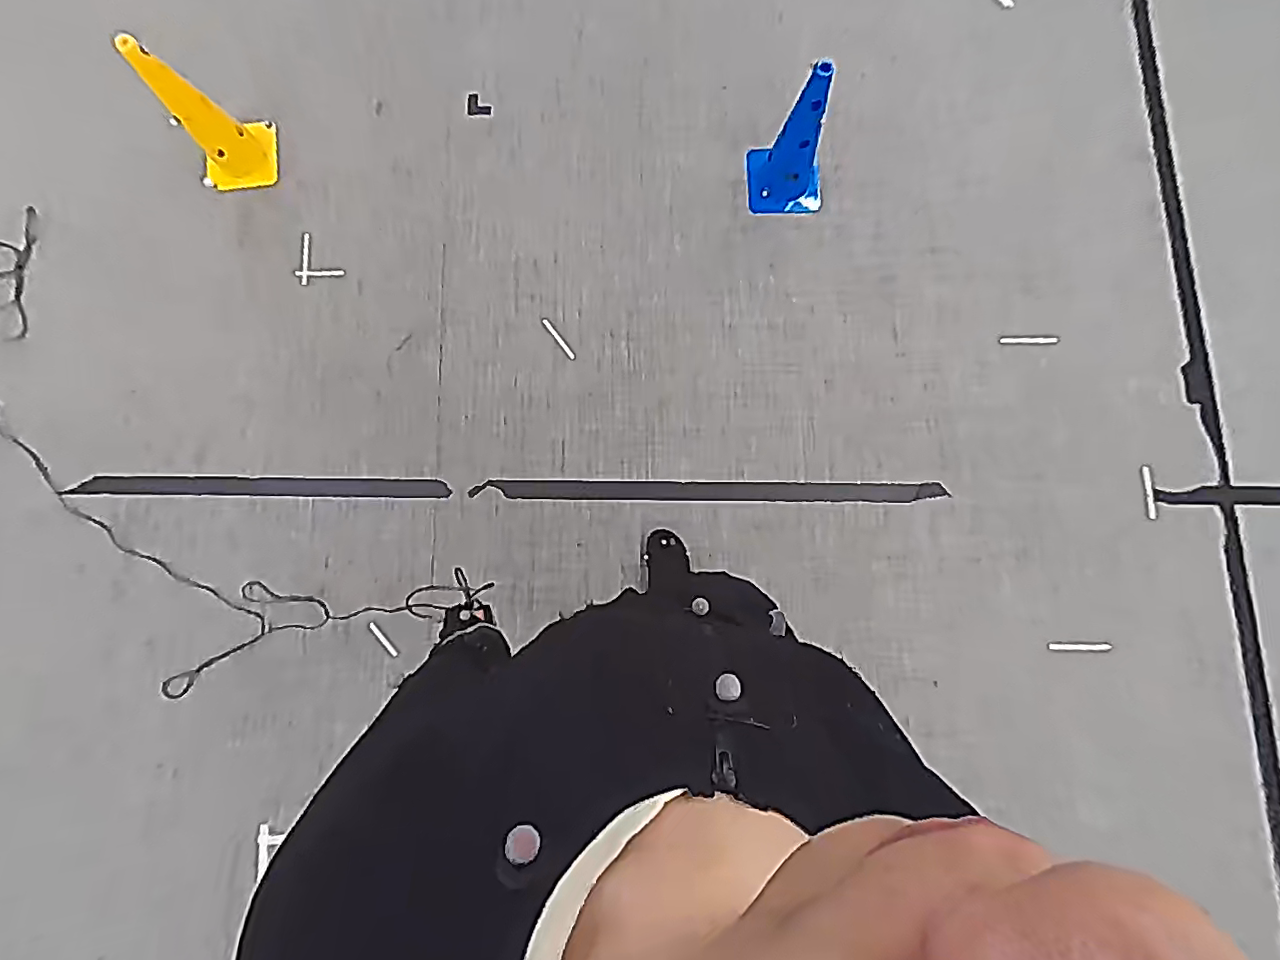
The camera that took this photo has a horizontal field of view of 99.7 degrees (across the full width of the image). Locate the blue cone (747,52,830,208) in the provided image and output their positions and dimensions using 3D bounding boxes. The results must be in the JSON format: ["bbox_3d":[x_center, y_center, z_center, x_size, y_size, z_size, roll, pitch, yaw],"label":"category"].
[{"bbox_3d":[0.395,-0.868,1.344,0.193,0.380,0.192,1,81,1],"label":"blue cone"}]
